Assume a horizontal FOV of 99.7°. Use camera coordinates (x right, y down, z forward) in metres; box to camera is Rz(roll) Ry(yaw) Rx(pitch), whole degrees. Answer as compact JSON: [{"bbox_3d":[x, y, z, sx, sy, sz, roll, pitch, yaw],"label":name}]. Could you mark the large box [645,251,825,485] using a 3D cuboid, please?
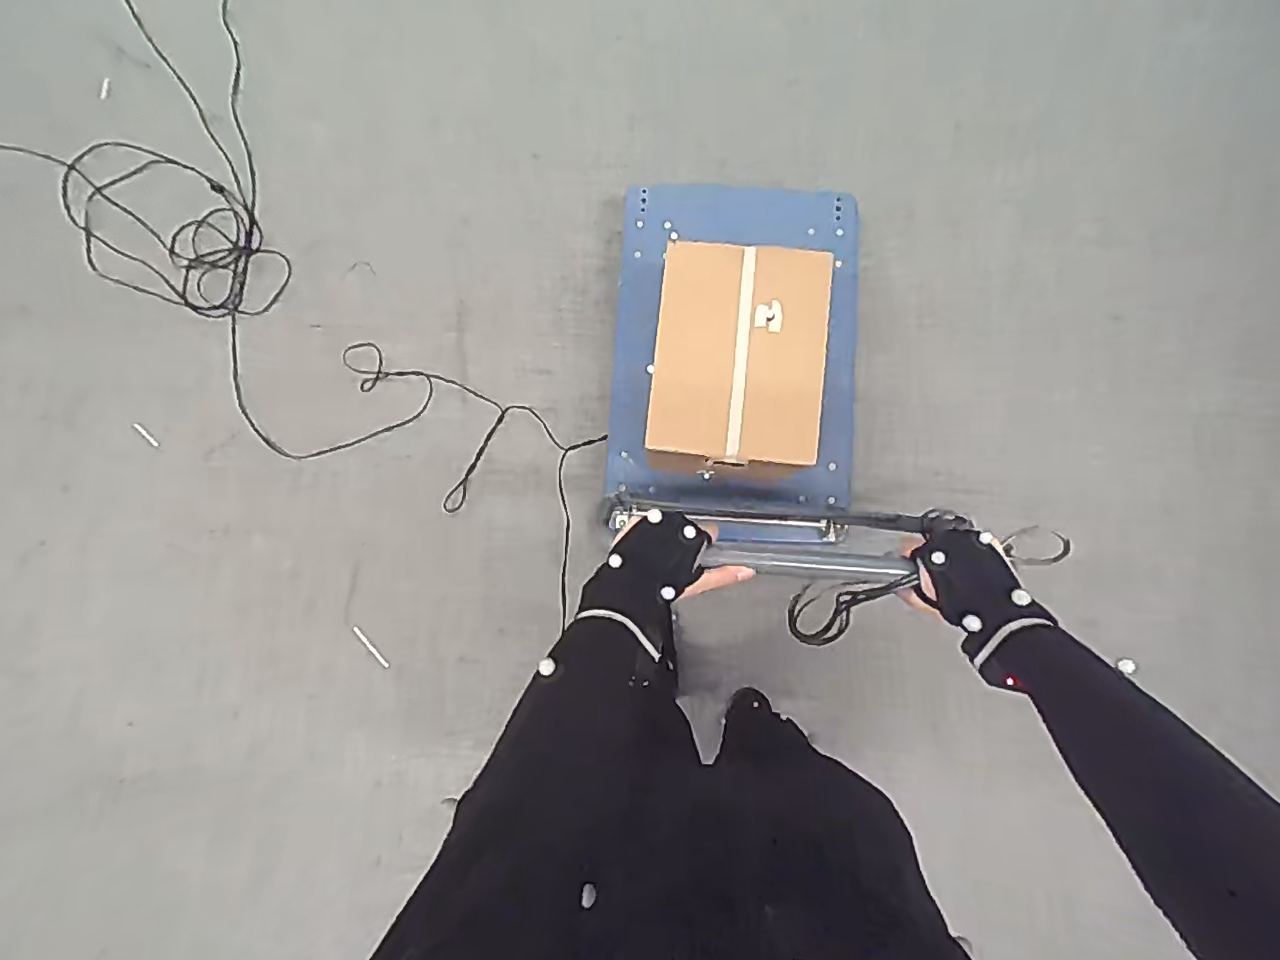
[{"bbox_3d":[0.185,-0.209,1.148,0.320,0.320,0.408,6,84,2],"label":"large box"}]
